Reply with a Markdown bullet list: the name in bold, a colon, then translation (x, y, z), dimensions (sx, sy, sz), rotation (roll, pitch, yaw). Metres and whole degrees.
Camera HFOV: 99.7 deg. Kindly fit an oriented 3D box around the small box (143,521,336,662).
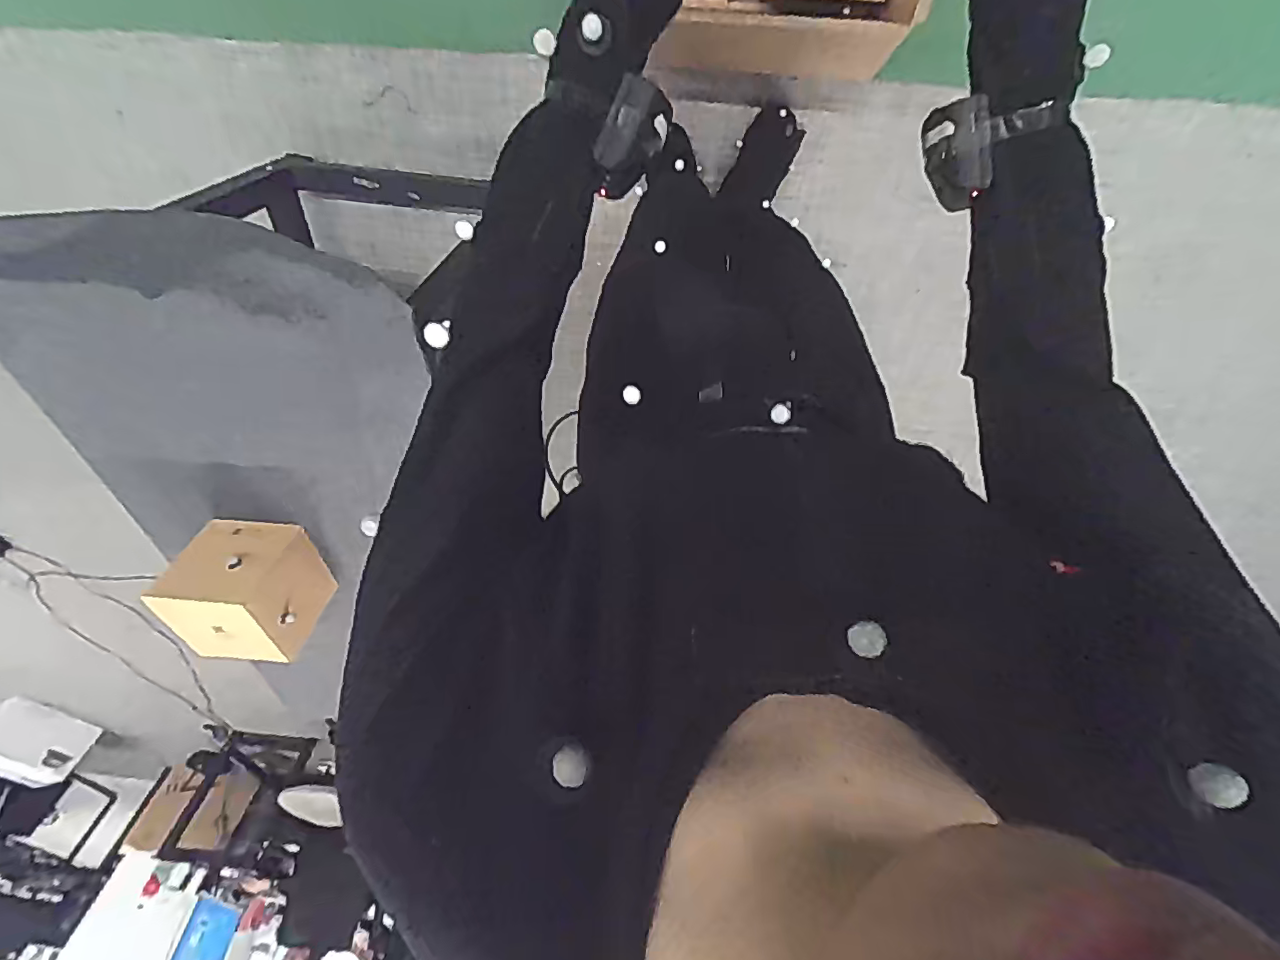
- **small box**: translation (-0.662, 0.187, 0.922), dimensions (0.168, 0.176, 0.179), rotation (4, 133, 3)
